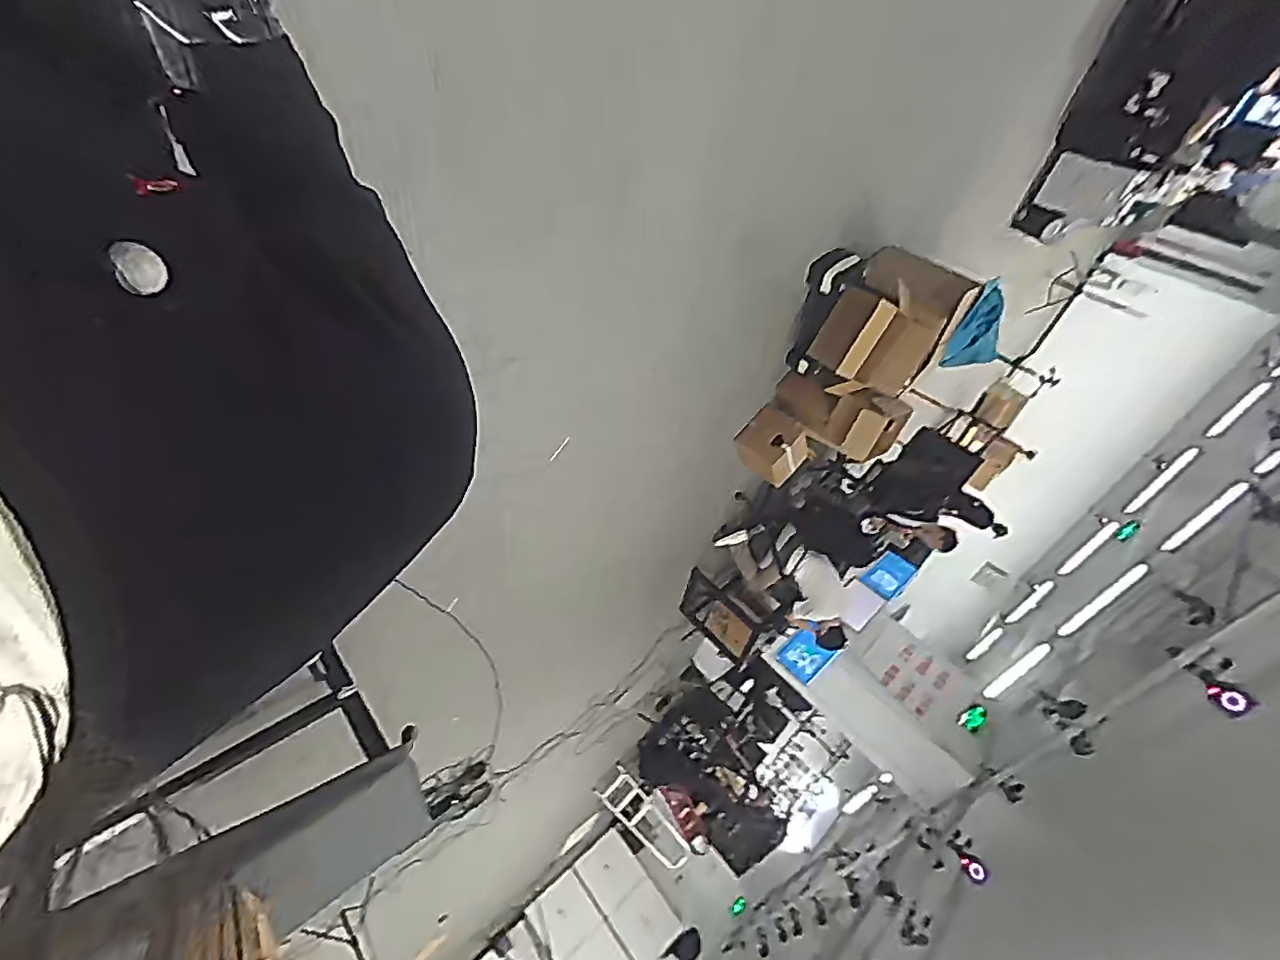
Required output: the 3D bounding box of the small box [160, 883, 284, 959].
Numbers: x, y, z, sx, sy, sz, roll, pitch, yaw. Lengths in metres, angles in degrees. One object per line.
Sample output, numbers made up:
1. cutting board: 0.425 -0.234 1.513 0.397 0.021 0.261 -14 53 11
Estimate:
1. small box: -0.984 1.109 1.278 0.179 0.176 0.168 -25 143 -37
